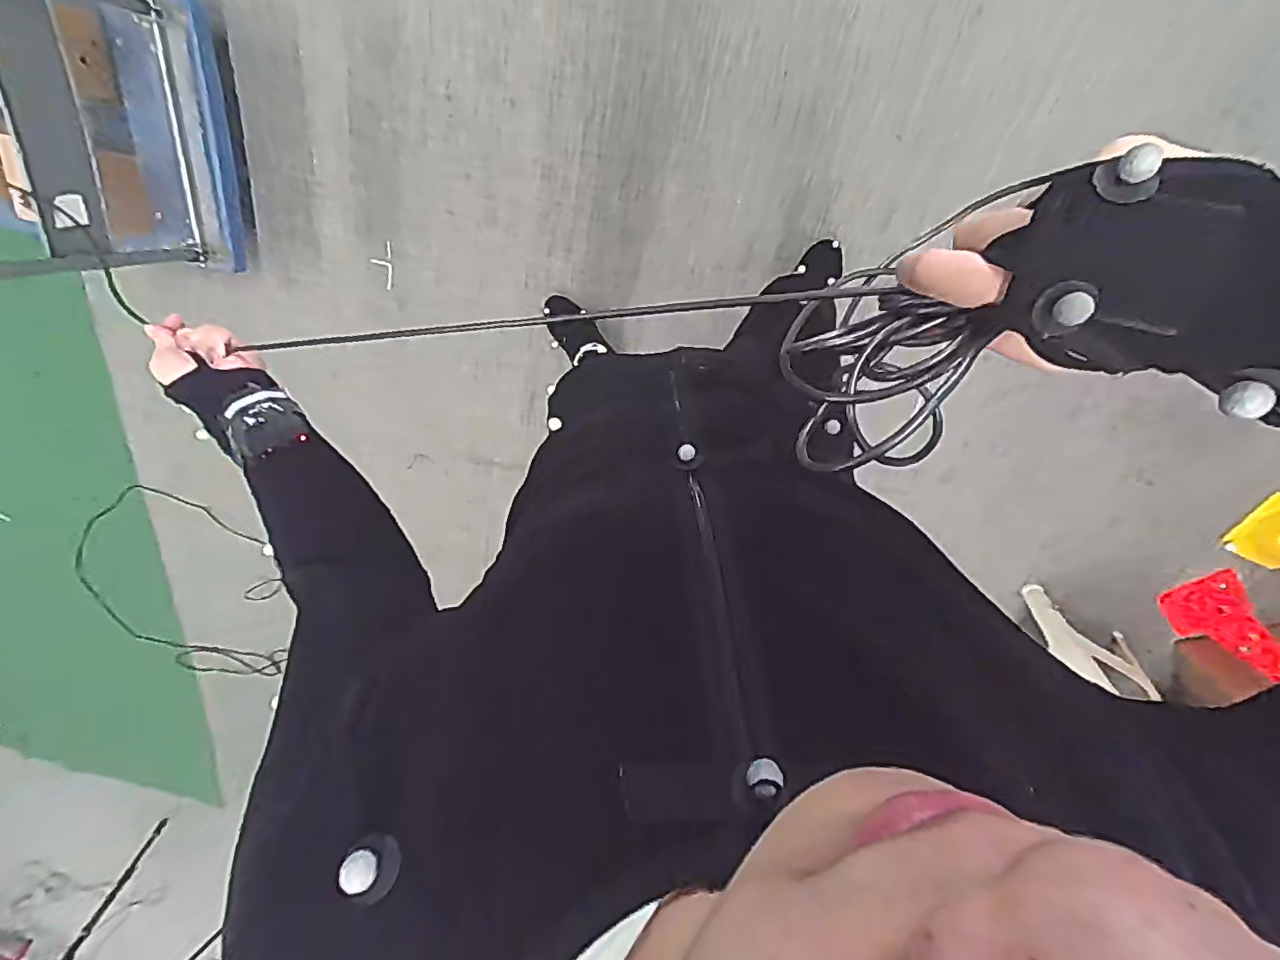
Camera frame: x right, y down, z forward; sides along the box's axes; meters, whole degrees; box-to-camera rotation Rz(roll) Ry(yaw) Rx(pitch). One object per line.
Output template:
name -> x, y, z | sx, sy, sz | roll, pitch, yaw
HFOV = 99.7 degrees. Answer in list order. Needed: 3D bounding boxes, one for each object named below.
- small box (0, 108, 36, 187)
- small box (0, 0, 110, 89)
small box -> -1.577, -0.784, 1.253 | 0.179, 0.176, 0.168 | 10, 117, 3
small box -> -1.285, -0.946, 1.131 | 0.179, 0.176, 0.168 | 13, 118, 0
